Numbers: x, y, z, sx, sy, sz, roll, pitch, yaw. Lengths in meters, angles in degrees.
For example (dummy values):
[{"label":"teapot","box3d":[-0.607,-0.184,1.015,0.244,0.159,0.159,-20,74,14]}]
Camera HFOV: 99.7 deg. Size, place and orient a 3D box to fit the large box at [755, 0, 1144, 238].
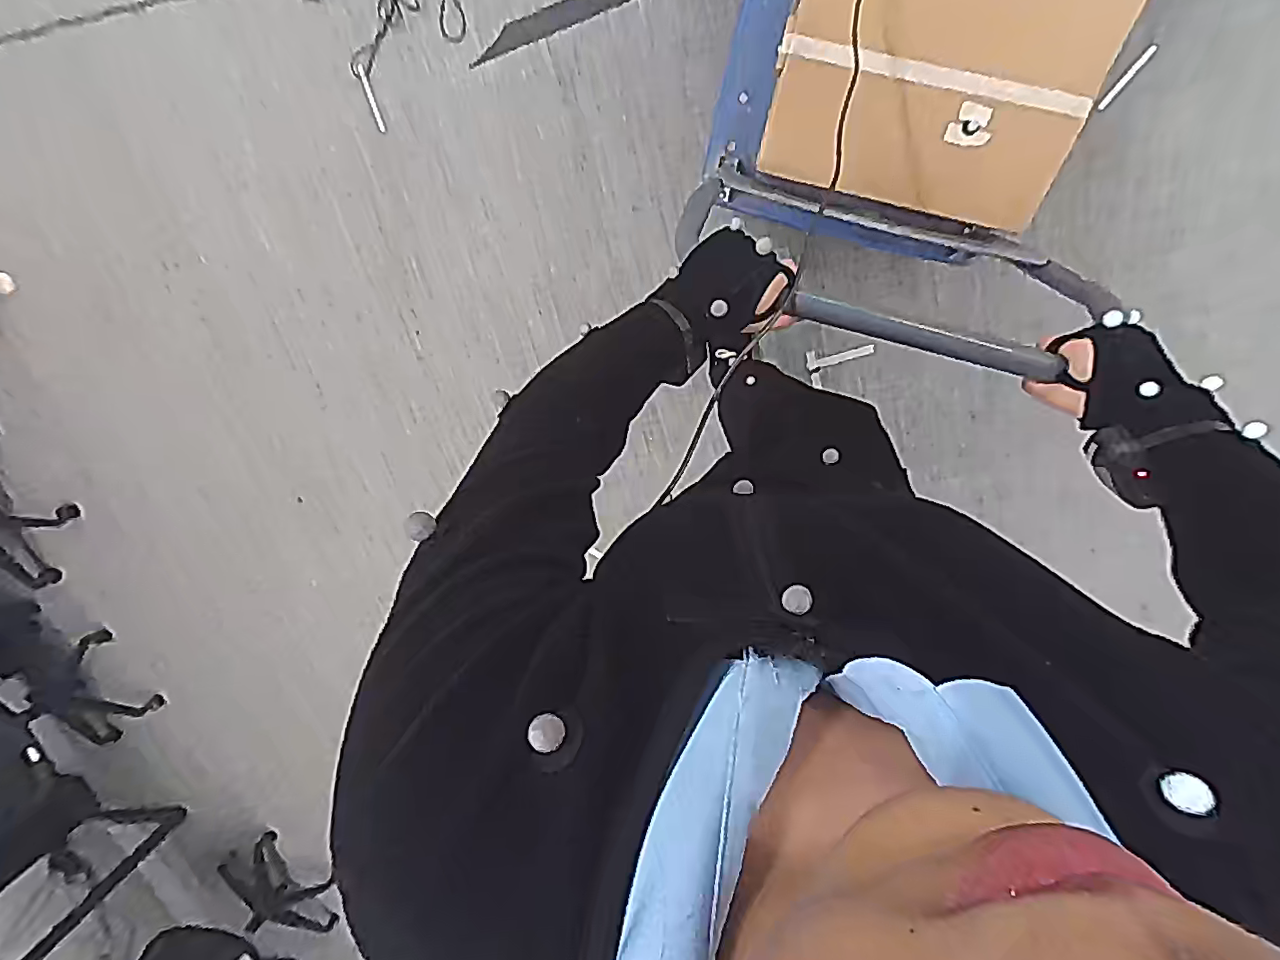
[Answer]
[{"label":"large box","box3d":[0.419,-0.602,0.852,0.408,0.320,0.320,15,122,2]}]
